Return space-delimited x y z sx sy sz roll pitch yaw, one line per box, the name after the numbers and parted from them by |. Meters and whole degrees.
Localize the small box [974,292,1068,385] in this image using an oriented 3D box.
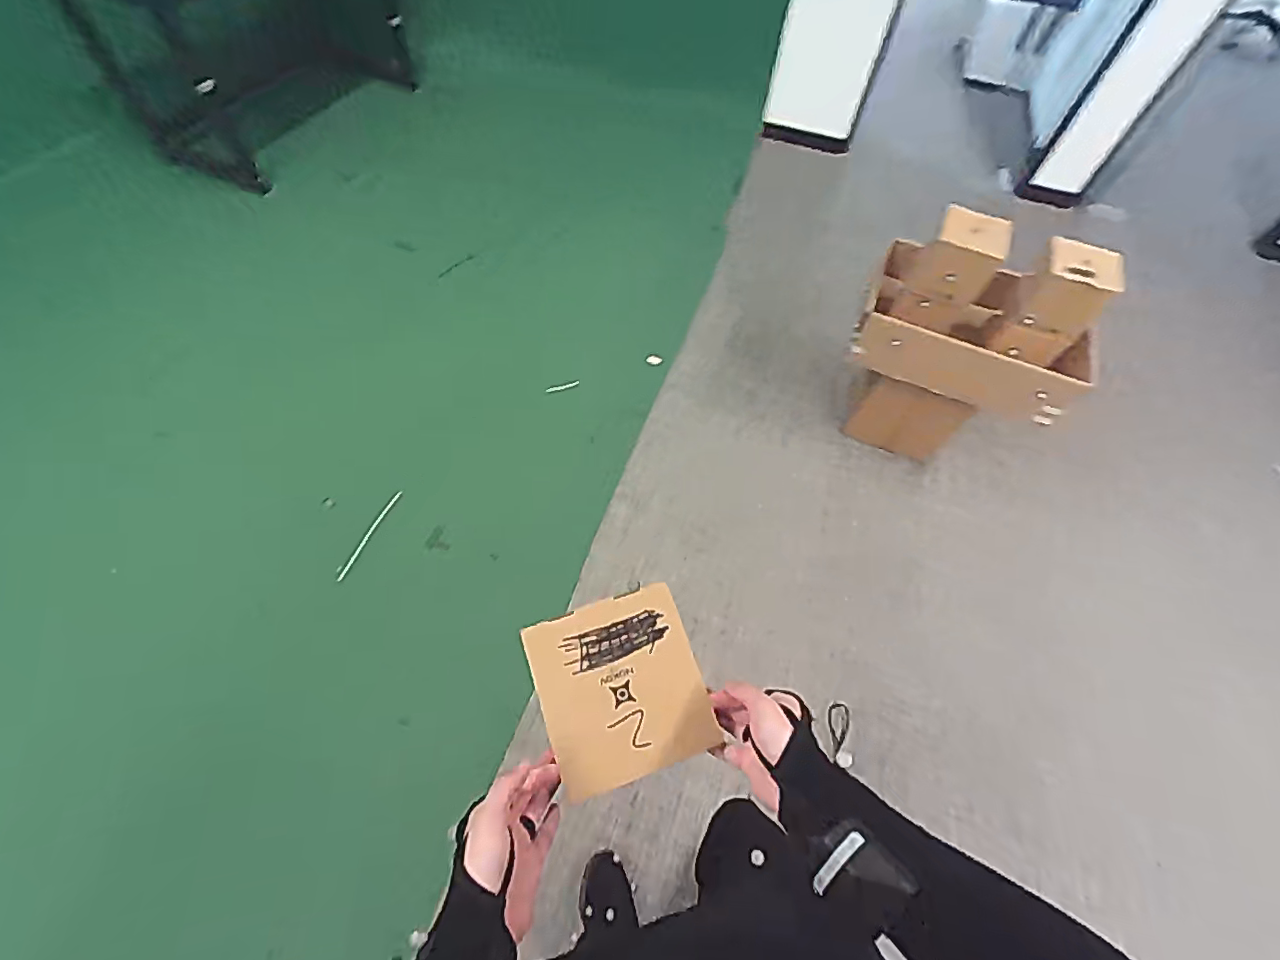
1.107 -0.407 1.575 0.168 0.176 0.179 22 59 10 | small box

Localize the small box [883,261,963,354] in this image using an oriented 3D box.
0.854 -0.515 1.621 0.168 0.176 0.179 24 60 12 | small box

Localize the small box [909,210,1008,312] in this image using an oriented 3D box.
0.863 -0.593 1.477 0.168 0.176 0.179 24 60 9 | small box

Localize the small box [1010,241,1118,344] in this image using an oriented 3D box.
1.117 -0.493 1.435 0.168 0.176 0.179 22 59 9 | small box
